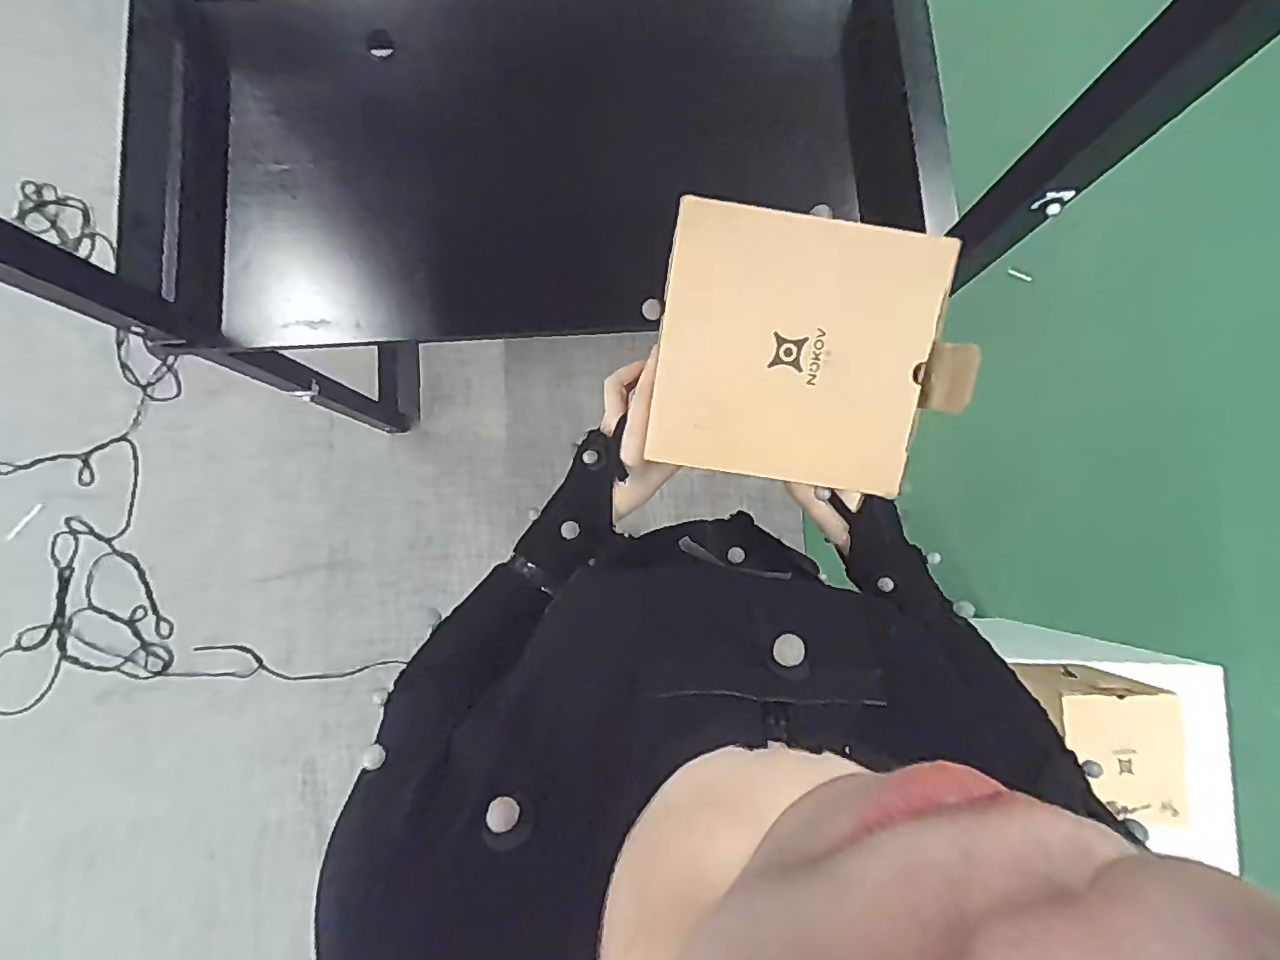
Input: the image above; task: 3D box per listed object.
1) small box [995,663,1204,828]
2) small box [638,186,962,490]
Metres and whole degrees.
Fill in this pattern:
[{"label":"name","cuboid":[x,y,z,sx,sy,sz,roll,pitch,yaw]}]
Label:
[{"label":"small box","cuboid":[0.652,0.374,0.791,0.168,0.176,0.179,0,84,1]},{"label":"small box","cuboid":[0.097,-0.098,0.415,0.179,0.176,0.168,8,101,-1]}]
